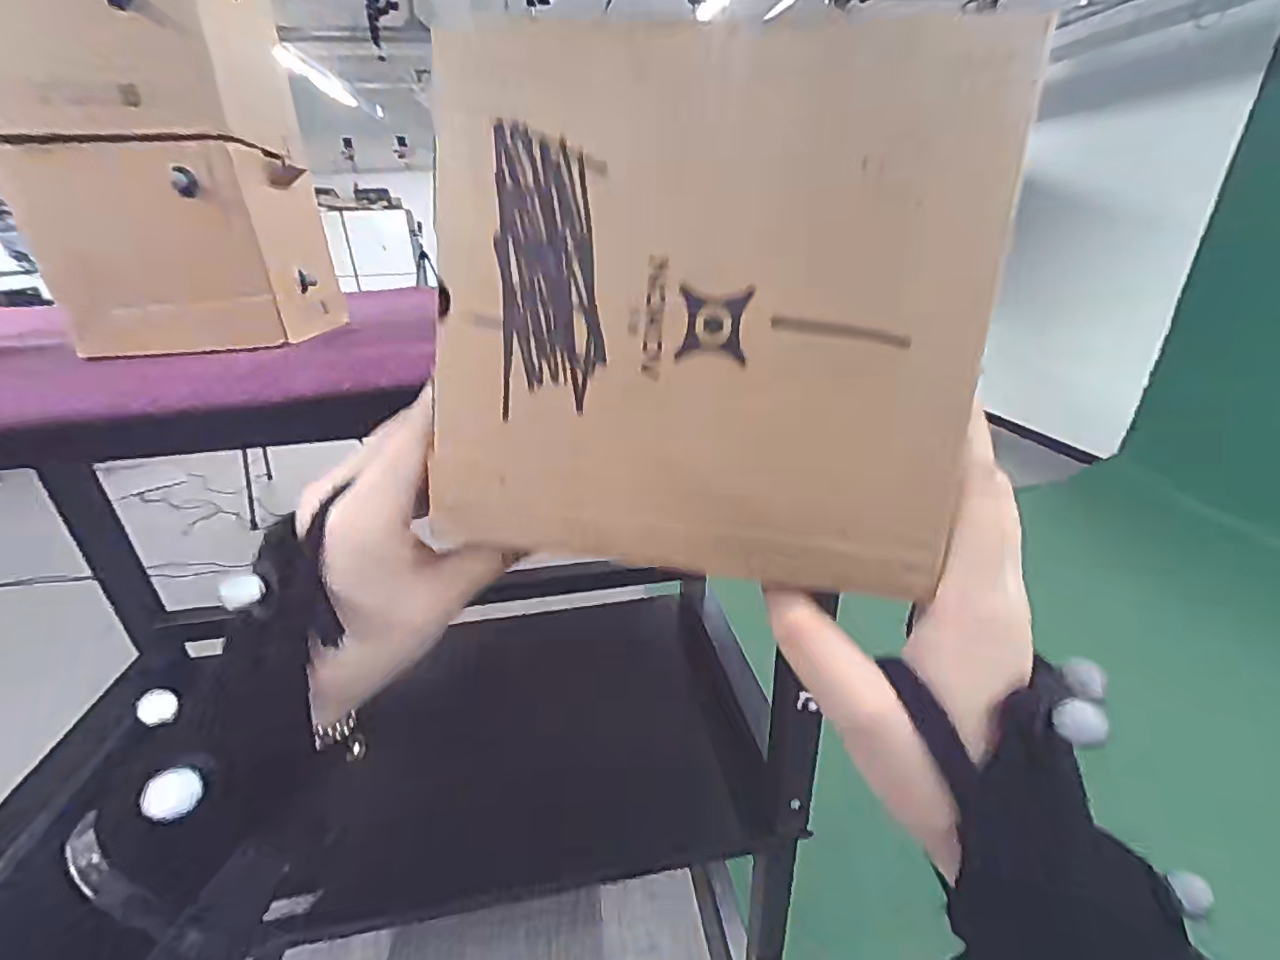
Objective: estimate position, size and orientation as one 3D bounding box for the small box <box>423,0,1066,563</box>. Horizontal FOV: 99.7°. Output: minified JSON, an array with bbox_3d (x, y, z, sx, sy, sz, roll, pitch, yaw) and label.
[{"bbox_3d":[0.029,-0.079,0.239,0.179,0.168,0.176,6,13,8],"label":"small box"}]

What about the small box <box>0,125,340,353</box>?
[{"bbox_3d":[-0.420,-0.219,0.512,0.179,0.176,0.168,-6,24,-8],"label":"small box"}]

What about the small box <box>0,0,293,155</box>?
[{"bbox_3d":[-0.420,-0.368,0.445,0.168,0.176,0.179,-5,23,-10],"label":"small box"}]
